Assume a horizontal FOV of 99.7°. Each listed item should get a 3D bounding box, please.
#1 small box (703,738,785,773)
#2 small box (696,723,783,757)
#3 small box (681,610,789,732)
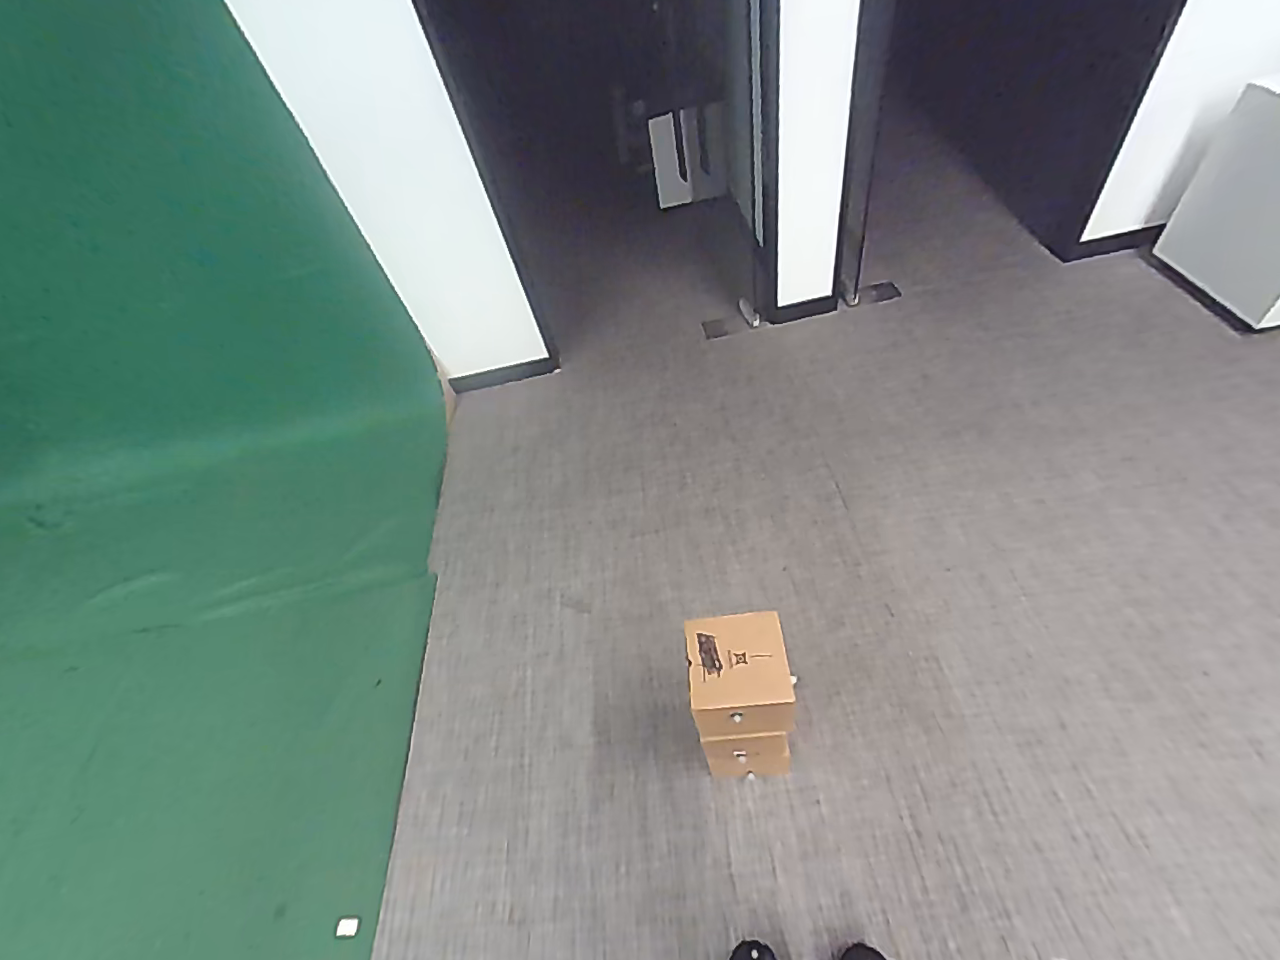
[{"bbox_3d":[0.235,0.574,1.261,0.179,0.176,0.168,-7,50,7],"label":"small box"},{"bbox_3d":[0.204,0.468,1.142,0.168,0.176,0.179,-9,50,8],"label":"small box"},{"bbox_3d":[0.179,0.363,1.017,0.179,0.176,0.168,-8,50,8],"label":"small box"}]
